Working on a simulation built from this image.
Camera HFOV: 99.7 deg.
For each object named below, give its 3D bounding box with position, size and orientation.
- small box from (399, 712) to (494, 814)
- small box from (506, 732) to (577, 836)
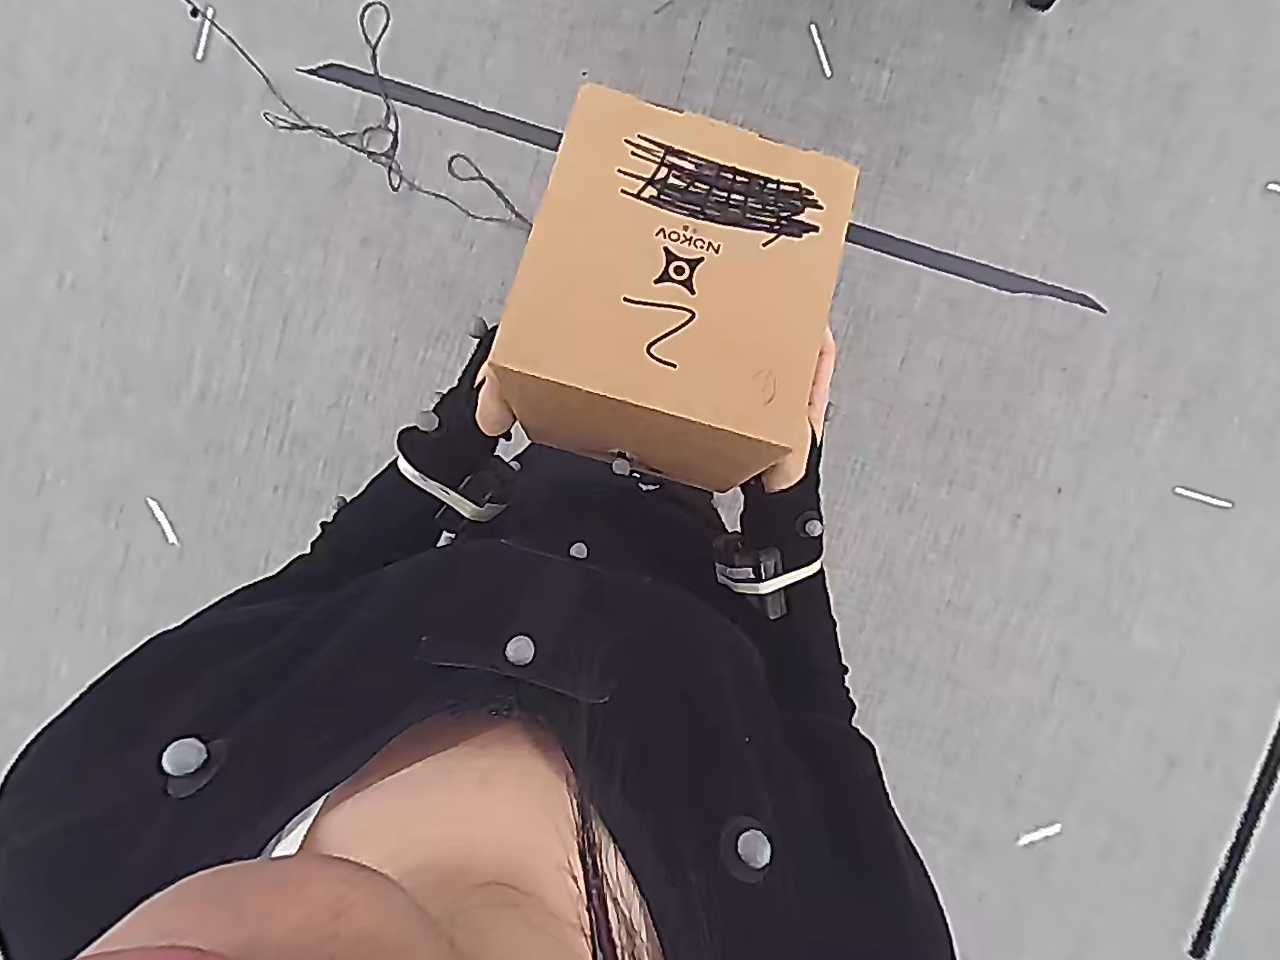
[{"bbox_3d":[-0.509,0.743,1.437,0.179,0.176,0.168,10,94,0],"label":"small box"},{"bbox_3d":[-0.269,0.795,1.431,0.179,0.176,0.168,10,93,0],"label":"small box"}]
